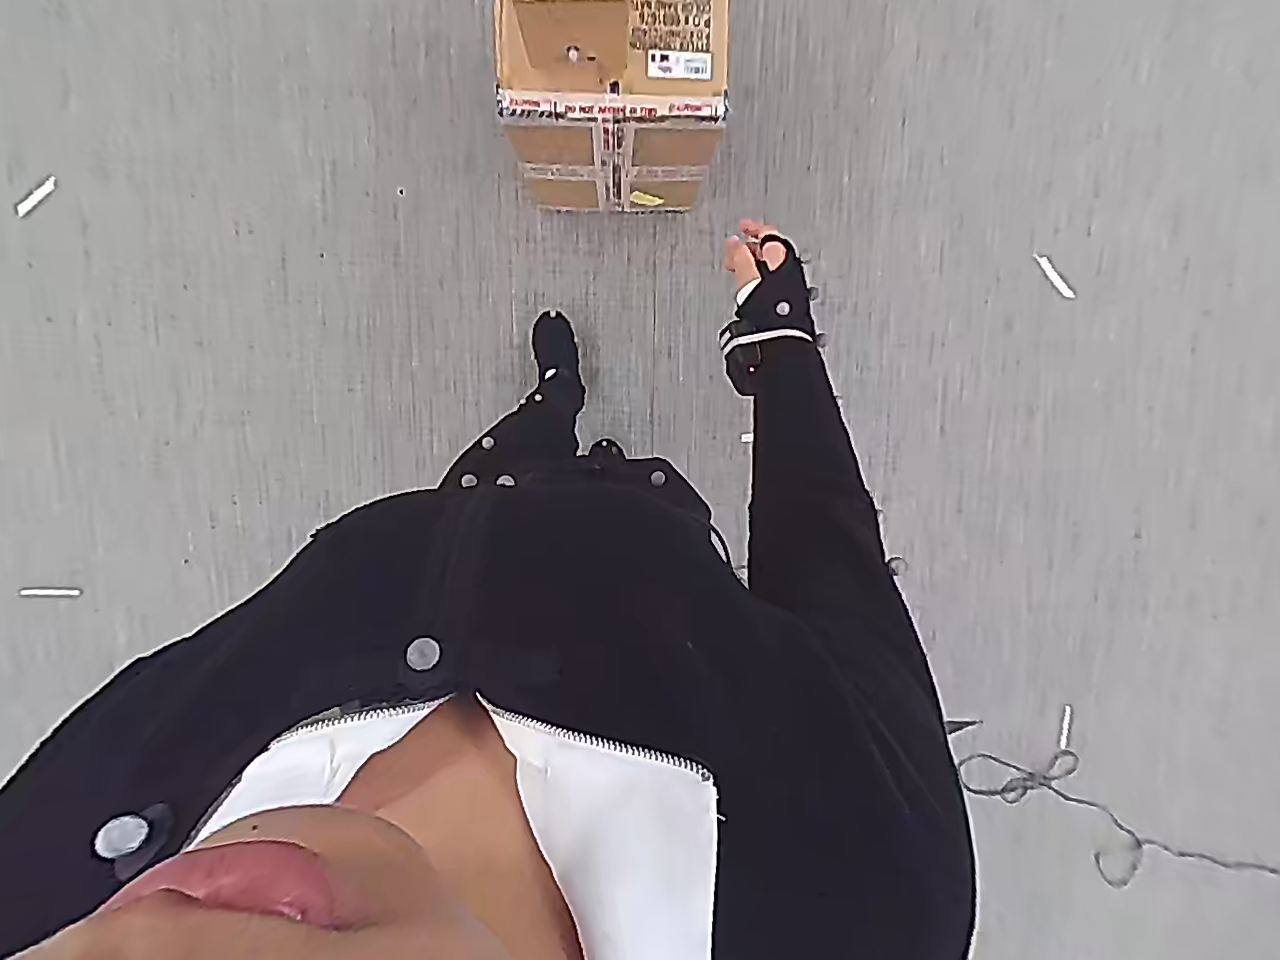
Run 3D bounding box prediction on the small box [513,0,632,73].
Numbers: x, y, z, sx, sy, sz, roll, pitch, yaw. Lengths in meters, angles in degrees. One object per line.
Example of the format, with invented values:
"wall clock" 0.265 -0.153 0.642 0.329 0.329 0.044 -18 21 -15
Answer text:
"small box" -0.098 -0.749 0.804 0.168 0.176 0.179 -2 102 -1
